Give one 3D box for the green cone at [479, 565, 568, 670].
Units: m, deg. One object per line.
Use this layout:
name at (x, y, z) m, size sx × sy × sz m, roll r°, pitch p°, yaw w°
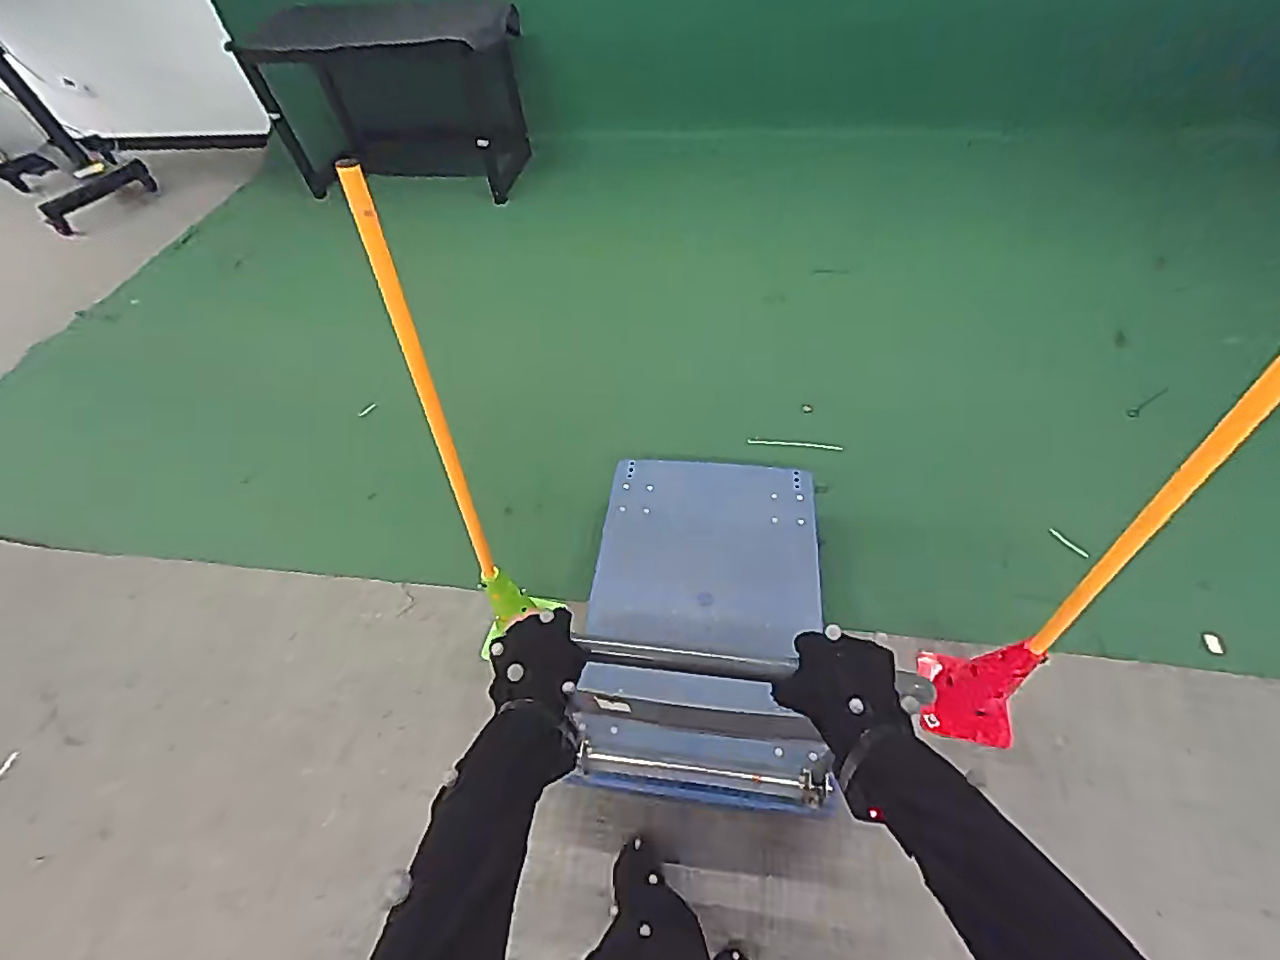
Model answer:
green cone at (-0.334, 0.318, 1.387) m, size 0.202 × 0.368 × 0.200 m, roll 8°, pitch 54°, yaw 12°
